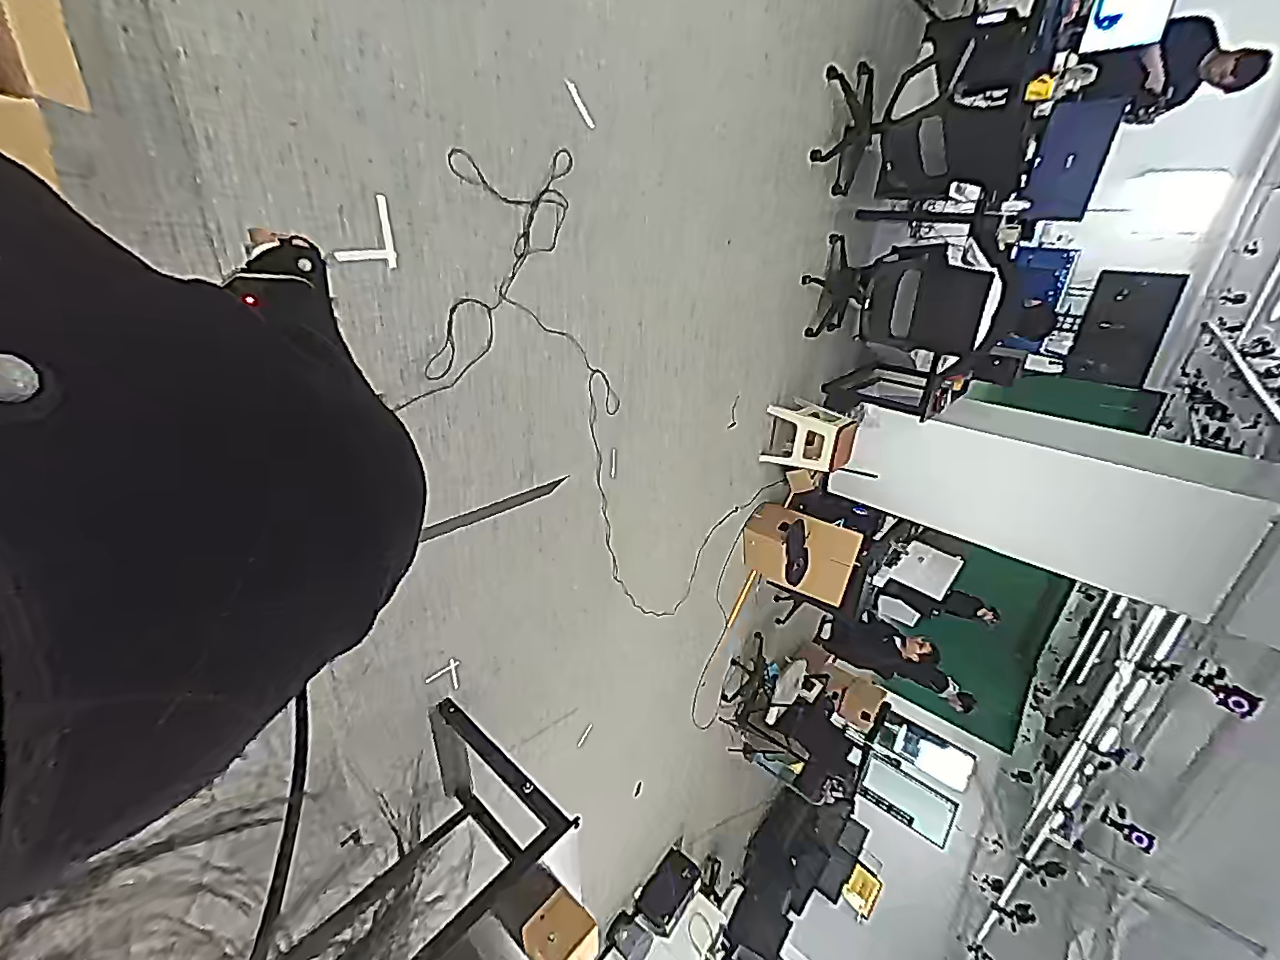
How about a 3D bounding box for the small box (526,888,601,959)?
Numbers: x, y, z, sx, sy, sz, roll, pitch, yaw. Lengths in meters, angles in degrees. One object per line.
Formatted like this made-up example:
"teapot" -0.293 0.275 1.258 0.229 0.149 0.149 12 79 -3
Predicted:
"small box" -0.238 1.428 1.683 0.168 0.176 0.179 -26 129 -41
